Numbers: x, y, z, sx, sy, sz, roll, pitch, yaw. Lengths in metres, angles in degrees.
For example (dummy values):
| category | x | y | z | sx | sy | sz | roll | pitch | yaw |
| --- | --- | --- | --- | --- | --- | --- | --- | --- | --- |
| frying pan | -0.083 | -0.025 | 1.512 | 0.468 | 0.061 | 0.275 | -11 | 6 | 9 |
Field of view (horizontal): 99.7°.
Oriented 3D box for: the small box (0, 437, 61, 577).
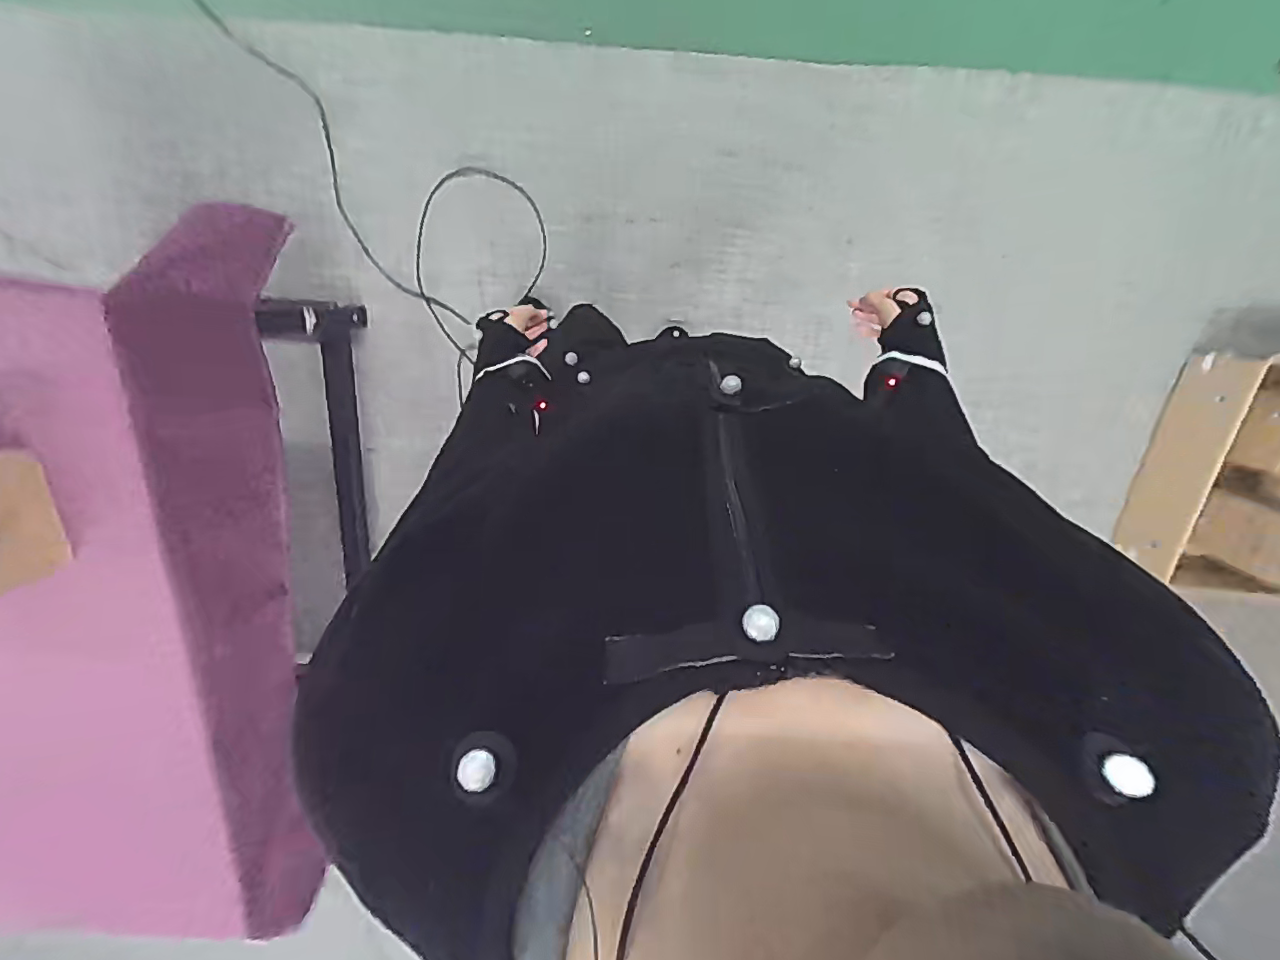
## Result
| category | x | y | z | sx | sy | sz | roll | pitch | yaw |
| --- | --- | --- | --- | --- | --- | --- | --- | --- | --- |
| small box | -0.921 | 0.048 | 0.694 | 0.168 | 0.176 | 0.179 | 1 | 109 | 0 |

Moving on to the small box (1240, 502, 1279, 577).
| category | x | y | z | sx | sy | sz | roll | pitch | yaw |
| --- | --- | --- | --- | --- | --- | --- | --- | --- | --- |
| small box | 1.605 | 0.160 | 1.273 | 0.179 | 0.176 | 0.168 | 6 | 108 | -1 |
